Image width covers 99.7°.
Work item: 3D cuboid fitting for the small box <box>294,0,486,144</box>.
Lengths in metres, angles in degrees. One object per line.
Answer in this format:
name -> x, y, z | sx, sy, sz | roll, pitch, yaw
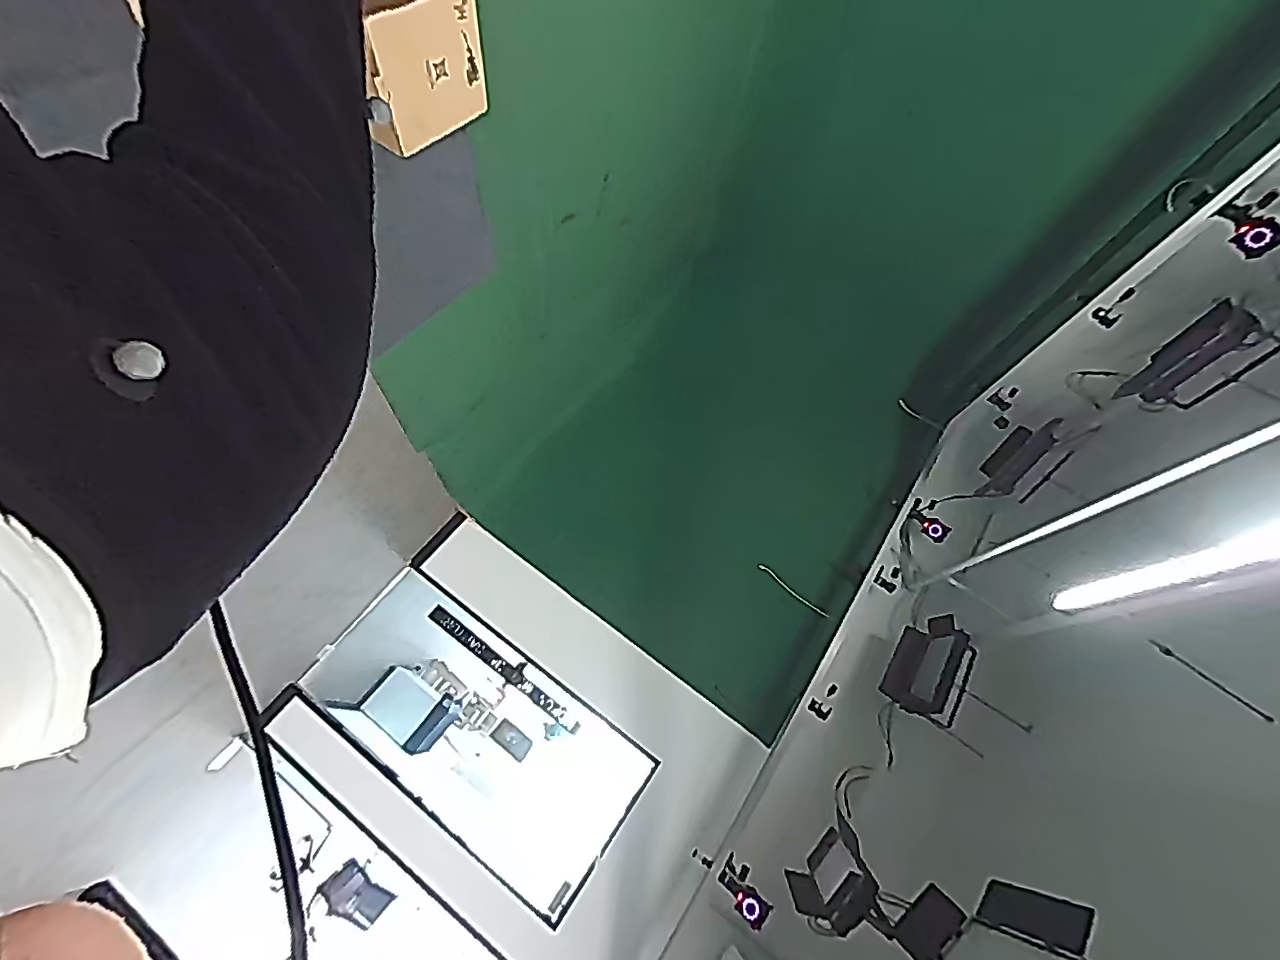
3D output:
small box -> -0.340, -0.609, 0.738 | 0.179, 0.176, 0.168 | -47, 169, -26
